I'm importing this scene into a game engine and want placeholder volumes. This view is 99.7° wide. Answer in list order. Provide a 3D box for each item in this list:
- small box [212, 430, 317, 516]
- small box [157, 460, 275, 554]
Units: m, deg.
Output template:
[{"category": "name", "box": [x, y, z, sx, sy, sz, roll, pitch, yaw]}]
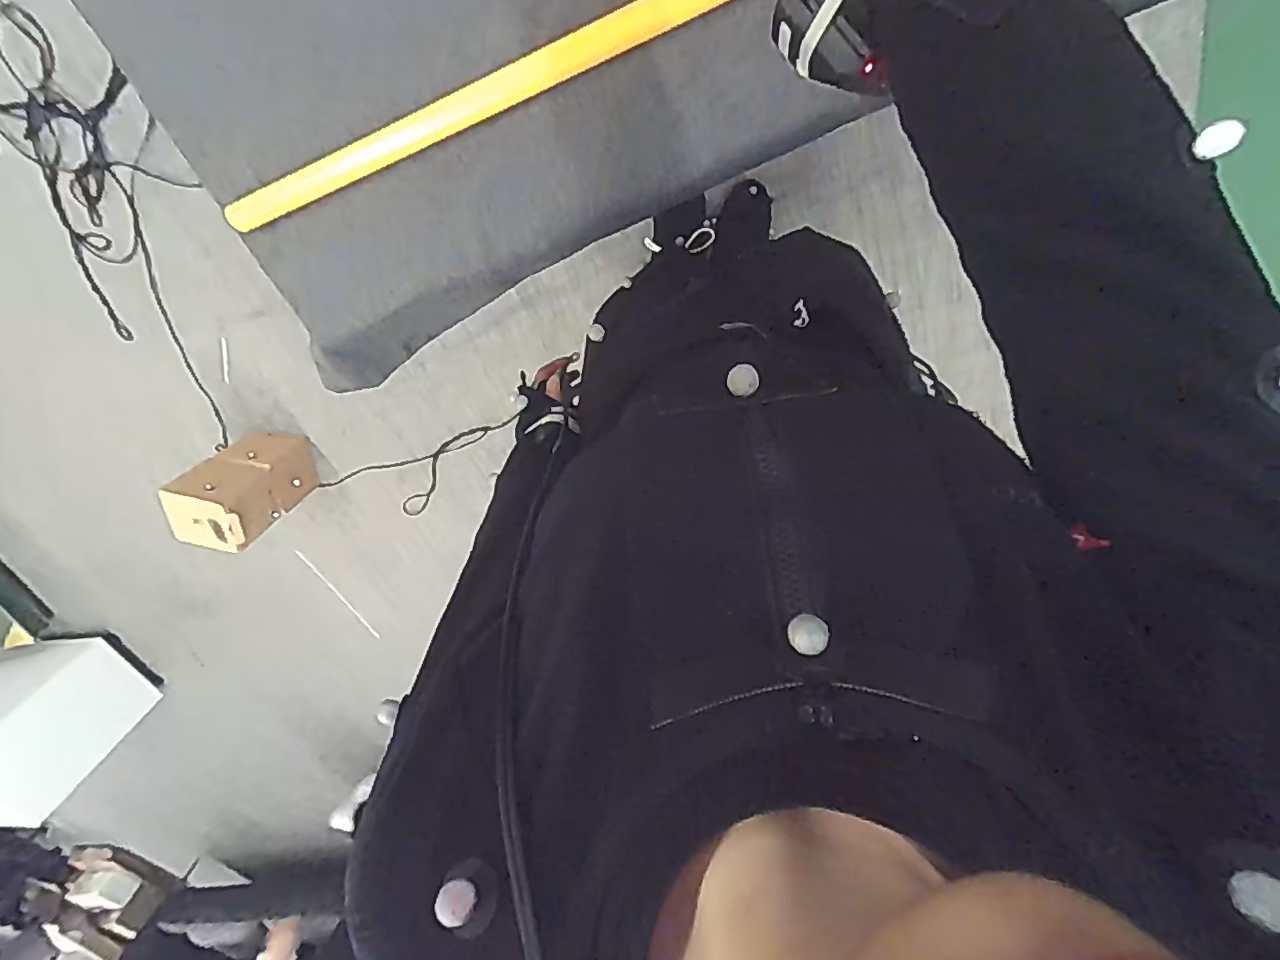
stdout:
[{"category": "small box", "box": [-1.081, -0.024, 1.576, 0.168, 0.176, 0.179, 8, 123, 3]}, {"category": "small box", "box": [-1.111, 0.067, 1.441, 0.179, 0.176, 0.168, 13, 123, 1]}]
